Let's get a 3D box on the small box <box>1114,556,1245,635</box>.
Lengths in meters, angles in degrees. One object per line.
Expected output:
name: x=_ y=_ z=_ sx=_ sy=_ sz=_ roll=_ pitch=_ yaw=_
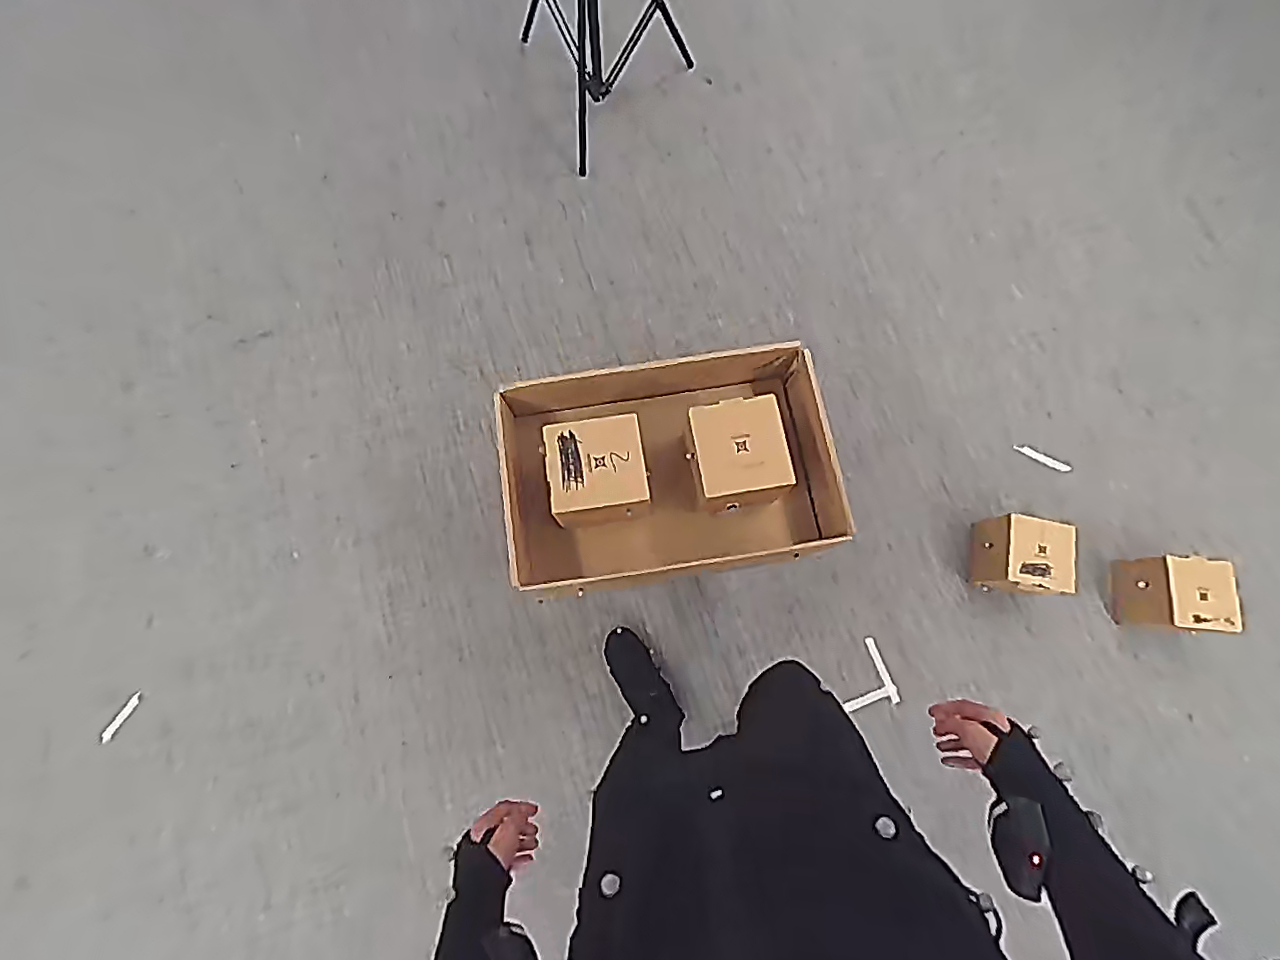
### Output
small box: x=1.381 y=0.302 z=1.399 sx=0.168 sy=0.176 sz=0.179 roll=6 pitch=75 yaw=2

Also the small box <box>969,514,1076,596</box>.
small box: x=0.998 y=0.204 z=1.422 sx=0.168 sy=0.176 sz=0.179 roll=13 pitch=76 yaw=3

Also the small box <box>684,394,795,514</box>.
small box: x=0.182 y=-0.045 z=1.050 sx=0.168 sy=0.176 sz=0.179 roll=-9 pitch=75 yaw=-1
